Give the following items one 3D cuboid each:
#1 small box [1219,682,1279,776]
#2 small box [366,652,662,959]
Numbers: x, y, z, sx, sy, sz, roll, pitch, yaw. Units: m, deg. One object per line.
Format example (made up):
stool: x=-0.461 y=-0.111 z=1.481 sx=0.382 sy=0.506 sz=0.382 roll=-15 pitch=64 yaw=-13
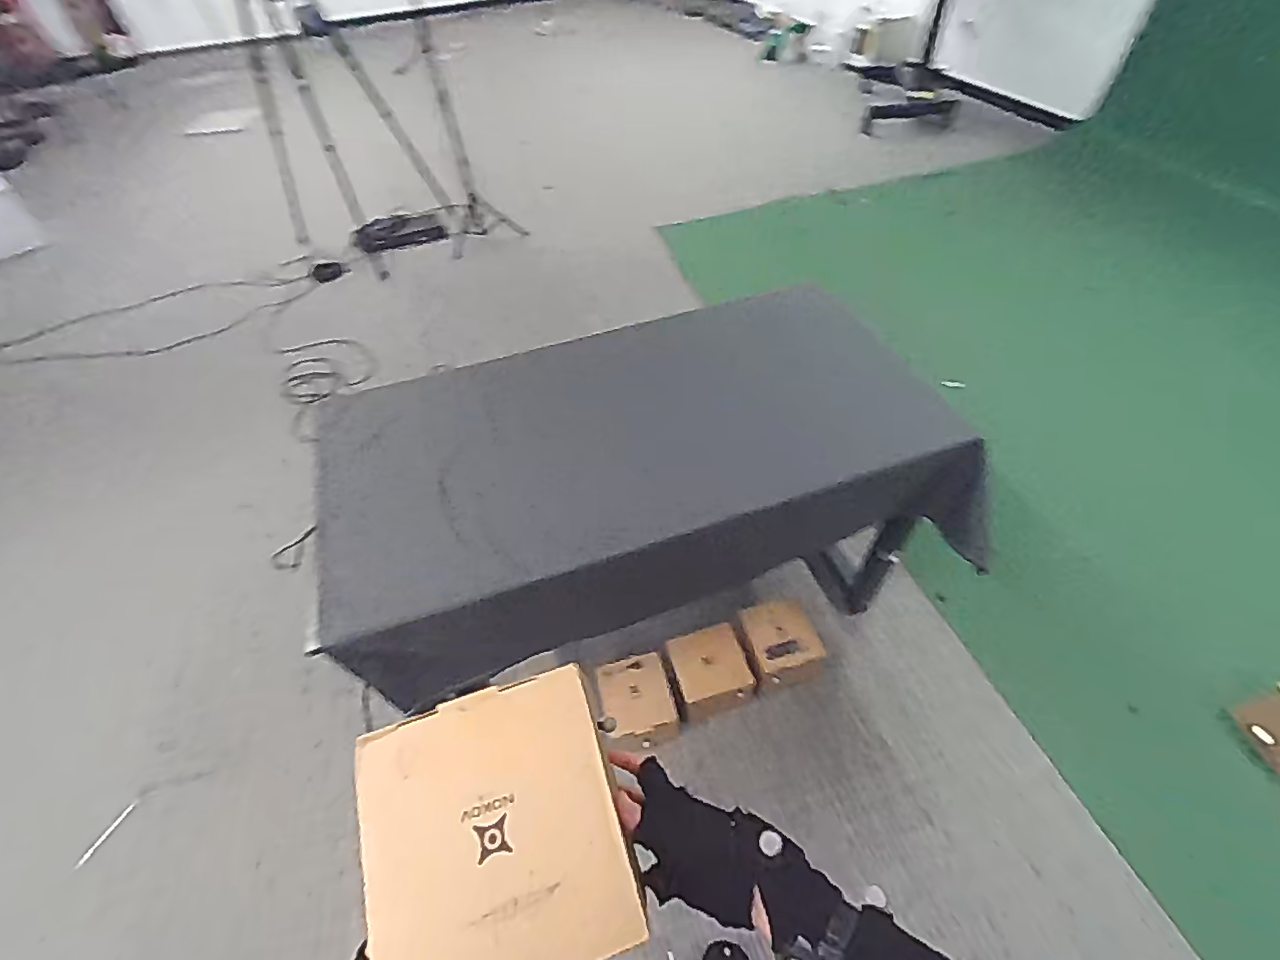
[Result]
small box: x=1.538 y=0.569 z=1.253 sx=0.179 sy=0.176 sz=0.168 roll=-9 pitch=50 yaw=-2
small box: x=-0.091 y=0.258 z=0.421 sx=0.168 sy=0.176 sz=0.179 roll=-15 pitch=64 yaw=-9
